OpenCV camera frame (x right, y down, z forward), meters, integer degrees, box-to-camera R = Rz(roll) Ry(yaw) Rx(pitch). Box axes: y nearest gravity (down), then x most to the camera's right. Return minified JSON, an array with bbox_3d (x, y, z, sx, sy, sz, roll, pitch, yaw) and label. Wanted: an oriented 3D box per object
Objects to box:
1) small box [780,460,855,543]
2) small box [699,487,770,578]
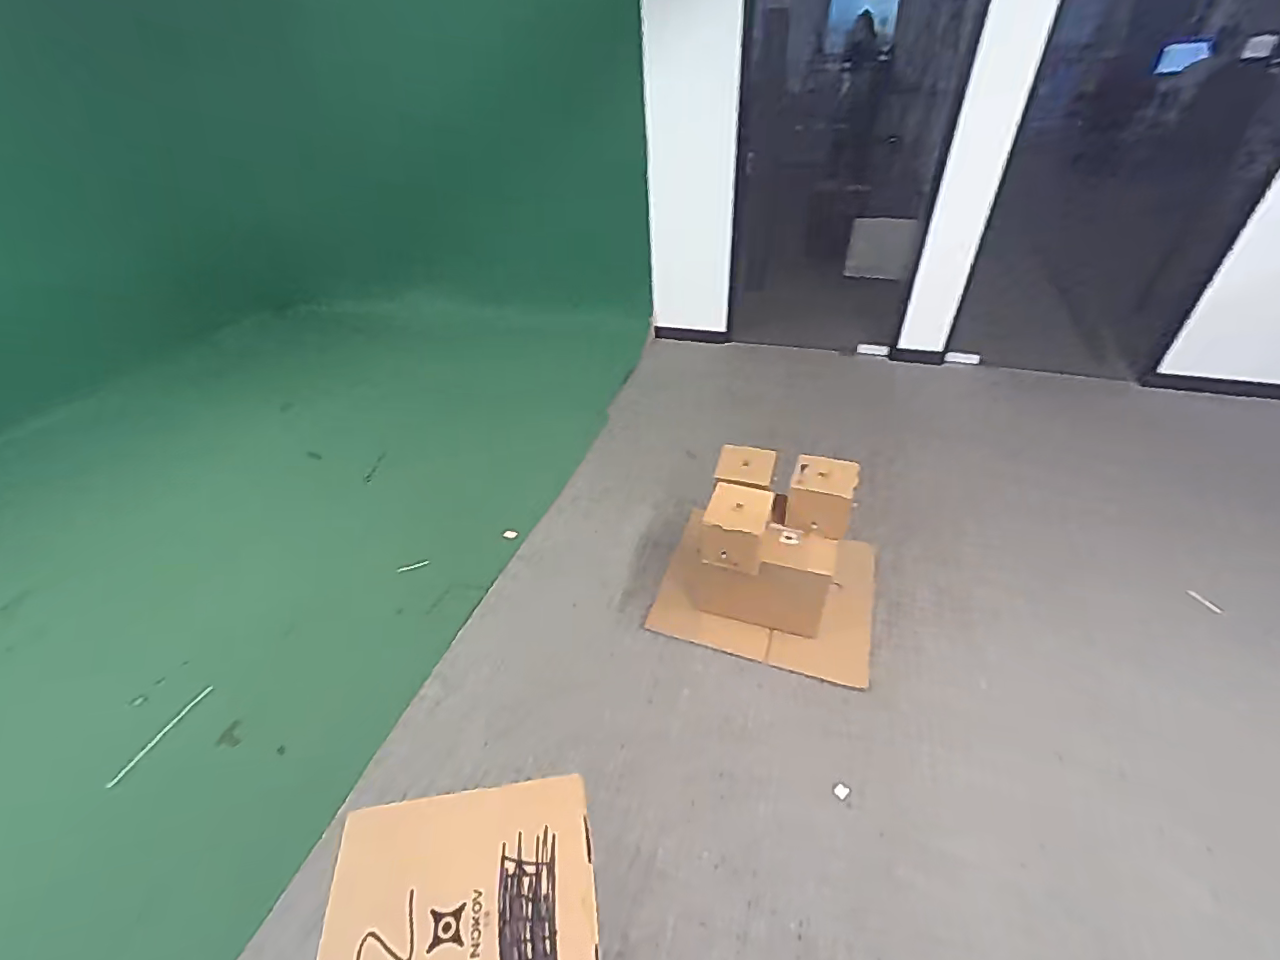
[{"bbox_3d":[0.535,0.066,1.634,0.179,0.176,0.168,13,42,20],"label":"small box"},{"bbox_3d":[0.270,0.151,1.556,0.168,0.176,0.179,12,44,17],"label":"small box"}]
